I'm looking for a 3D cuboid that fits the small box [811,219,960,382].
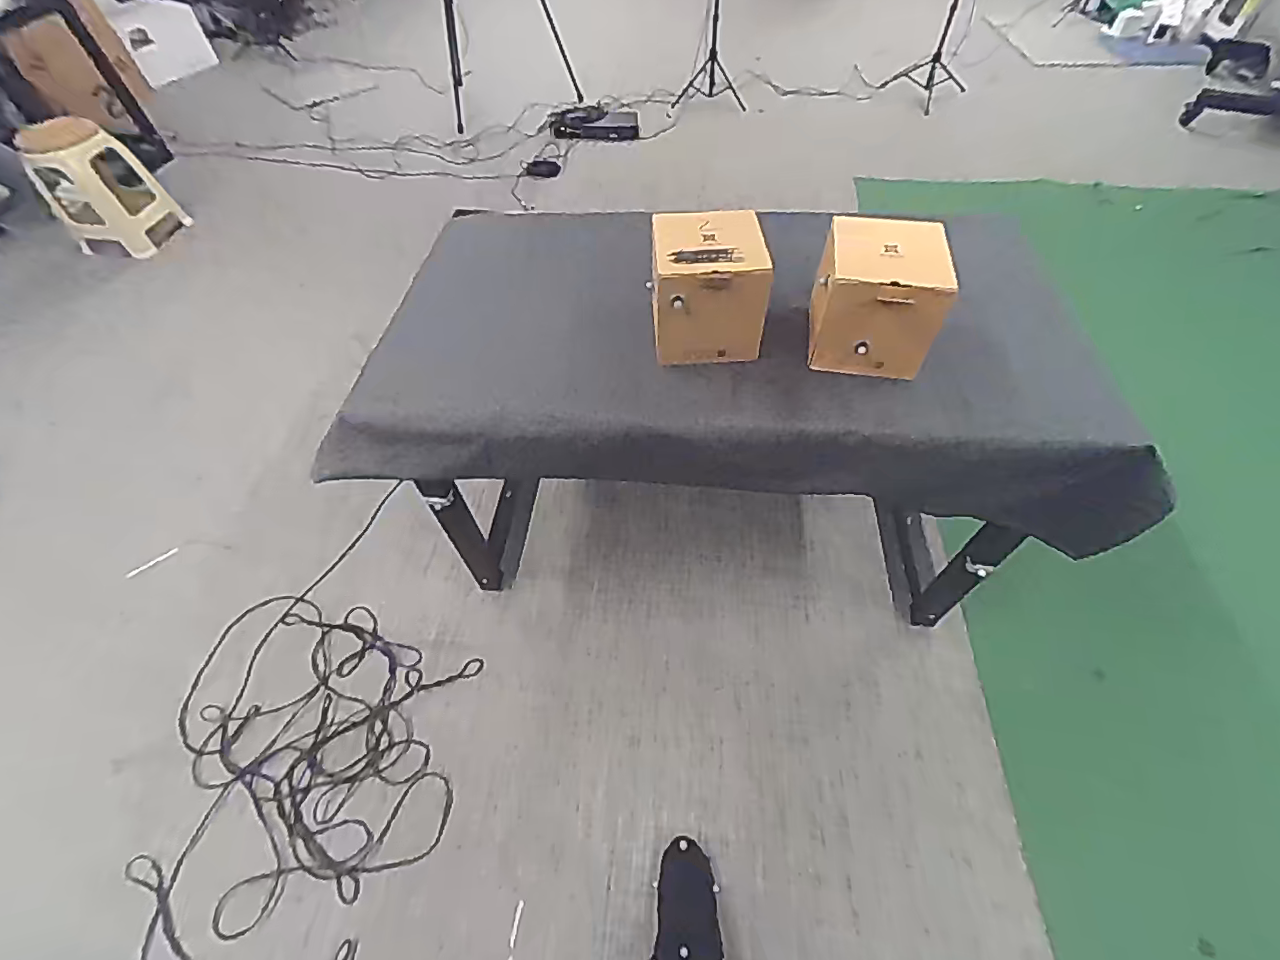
[{"bbox_3d":[0.372,-0.283,0.856,0.168,0.176,0.179,8,54,7],"label":"small box"}]
